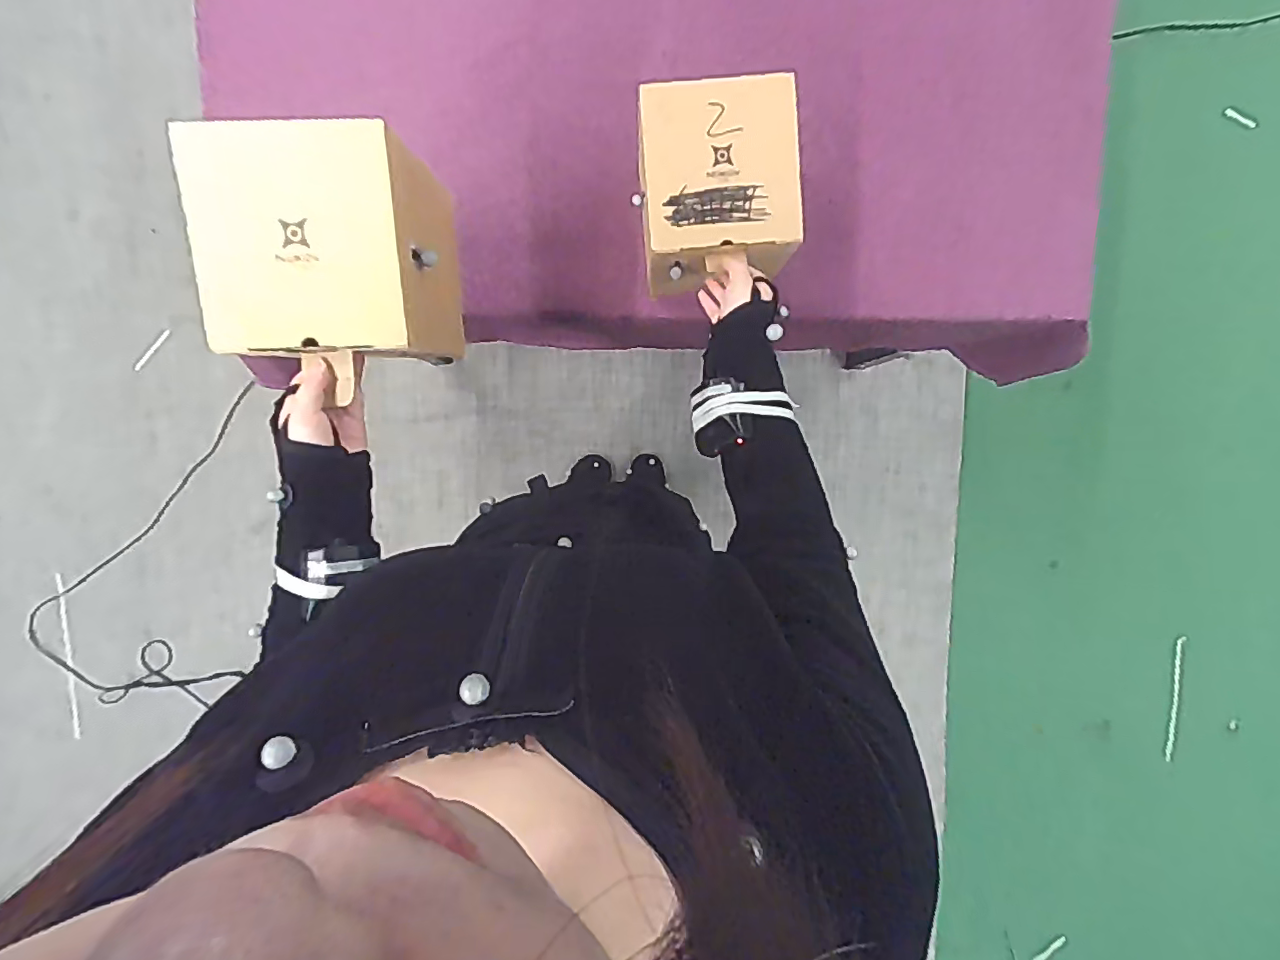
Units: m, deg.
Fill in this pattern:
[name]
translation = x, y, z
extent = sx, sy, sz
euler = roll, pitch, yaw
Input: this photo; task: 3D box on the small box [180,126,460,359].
[small box]
translation = -0.283, -0.209, 0.522
extent = 0.168, 0.176, 0.179
euler = -2, 102, -2
